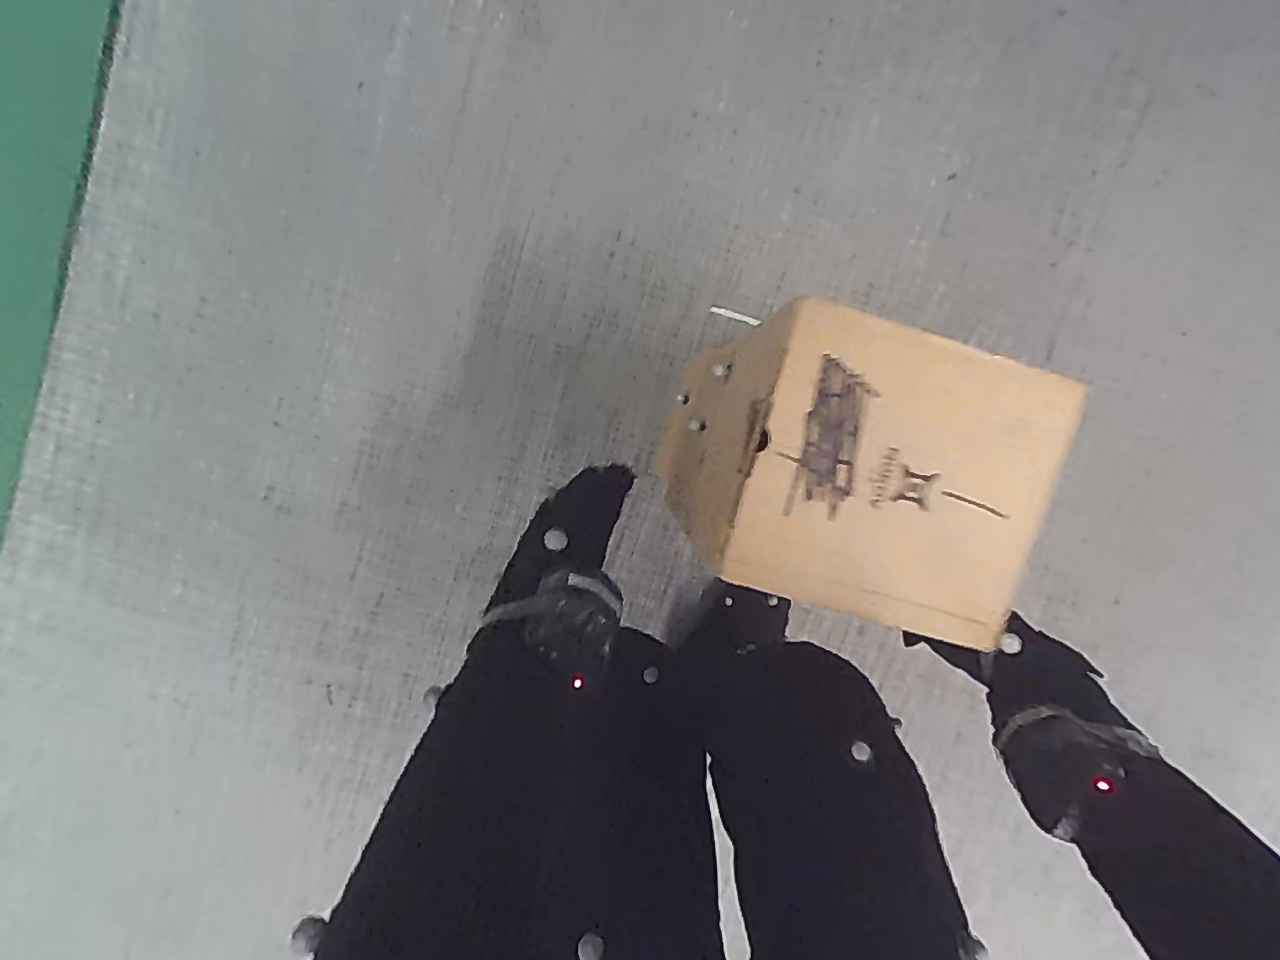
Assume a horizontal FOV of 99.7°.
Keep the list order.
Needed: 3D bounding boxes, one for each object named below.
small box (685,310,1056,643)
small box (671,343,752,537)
[{"bbox_3d":[0.142,-0.006,0.405,0.179,0.176,0.168,16,95,-4],"label":"small box"},{"bbox_3d":[0.134,-0.021,0.551,0.168,0.176,0.179,16,96,-4],"label":"small box"}]
